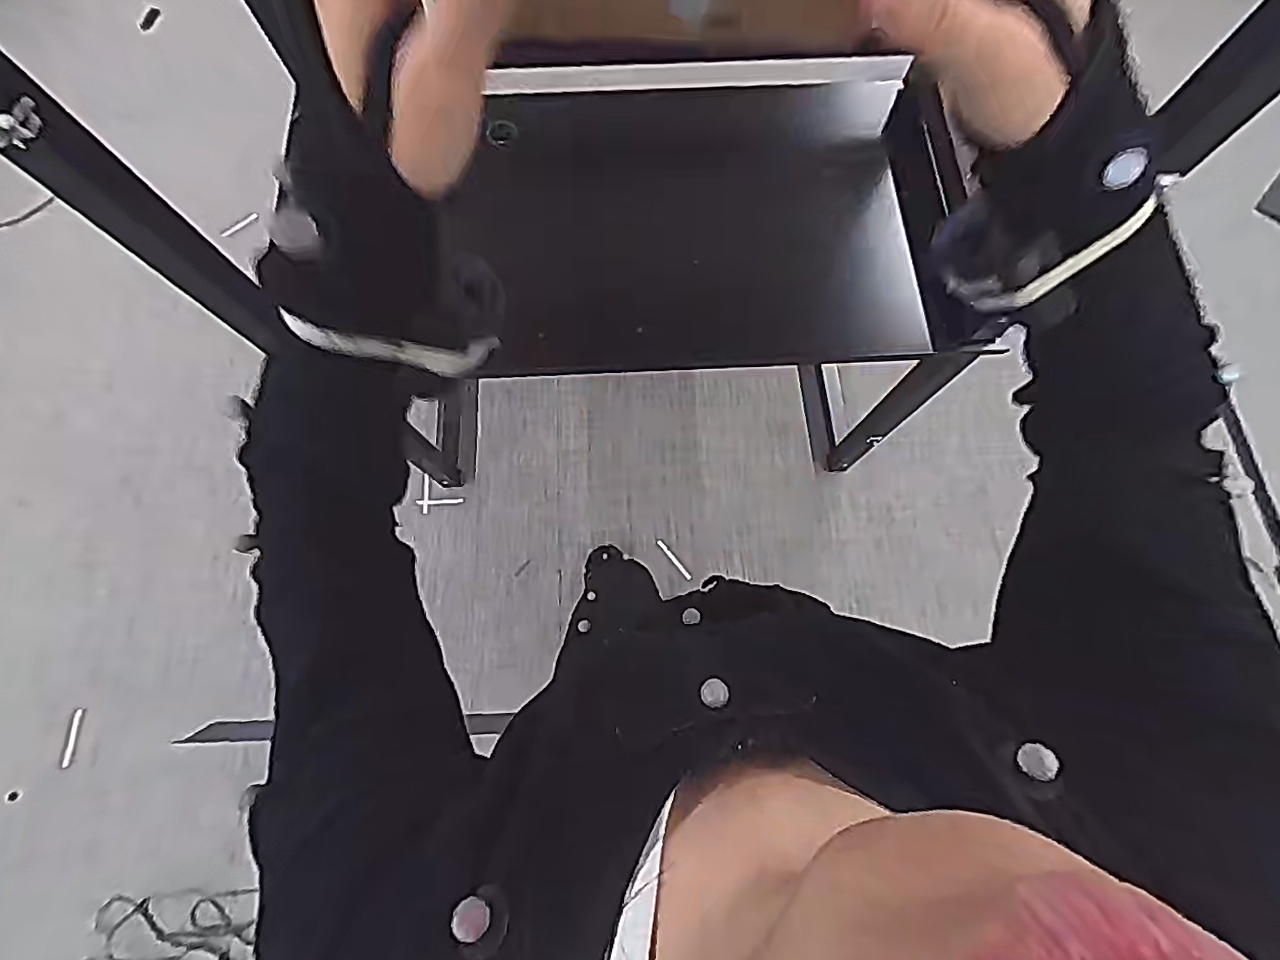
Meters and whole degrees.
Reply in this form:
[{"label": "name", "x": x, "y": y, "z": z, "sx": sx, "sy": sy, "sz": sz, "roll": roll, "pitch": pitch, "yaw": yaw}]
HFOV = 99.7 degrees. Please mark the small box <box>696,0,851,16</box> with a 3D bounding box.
[{"label": "small box", "x": 0.017, "y": -0.233, "z": 0.111, "sx": 0.168, "sy": 0.176, "sz": 0.179, "roll": -2, "pitch": 114, "yaw": -6}]
